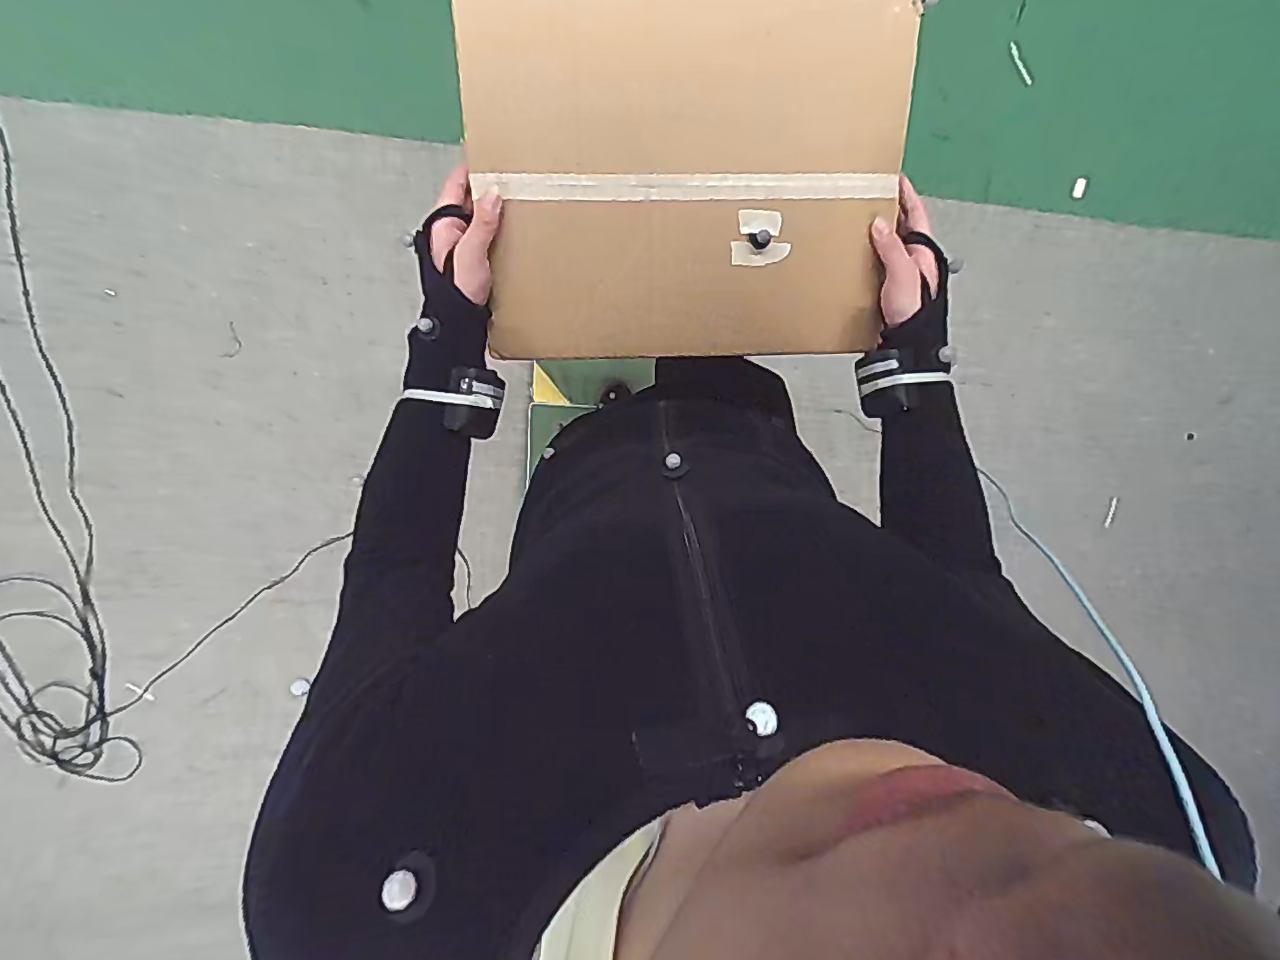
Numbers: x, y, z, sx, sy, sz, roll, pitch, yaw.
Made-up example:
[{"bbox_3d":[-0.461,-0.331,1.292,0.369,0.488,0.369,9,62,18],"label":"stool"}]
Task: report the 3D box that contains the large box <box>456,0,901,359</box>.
[{"bbox_3d":[0.029,-0.330,0.661,0.408,0.320,0.320,-3,110,-5],"label":"large box"}]
